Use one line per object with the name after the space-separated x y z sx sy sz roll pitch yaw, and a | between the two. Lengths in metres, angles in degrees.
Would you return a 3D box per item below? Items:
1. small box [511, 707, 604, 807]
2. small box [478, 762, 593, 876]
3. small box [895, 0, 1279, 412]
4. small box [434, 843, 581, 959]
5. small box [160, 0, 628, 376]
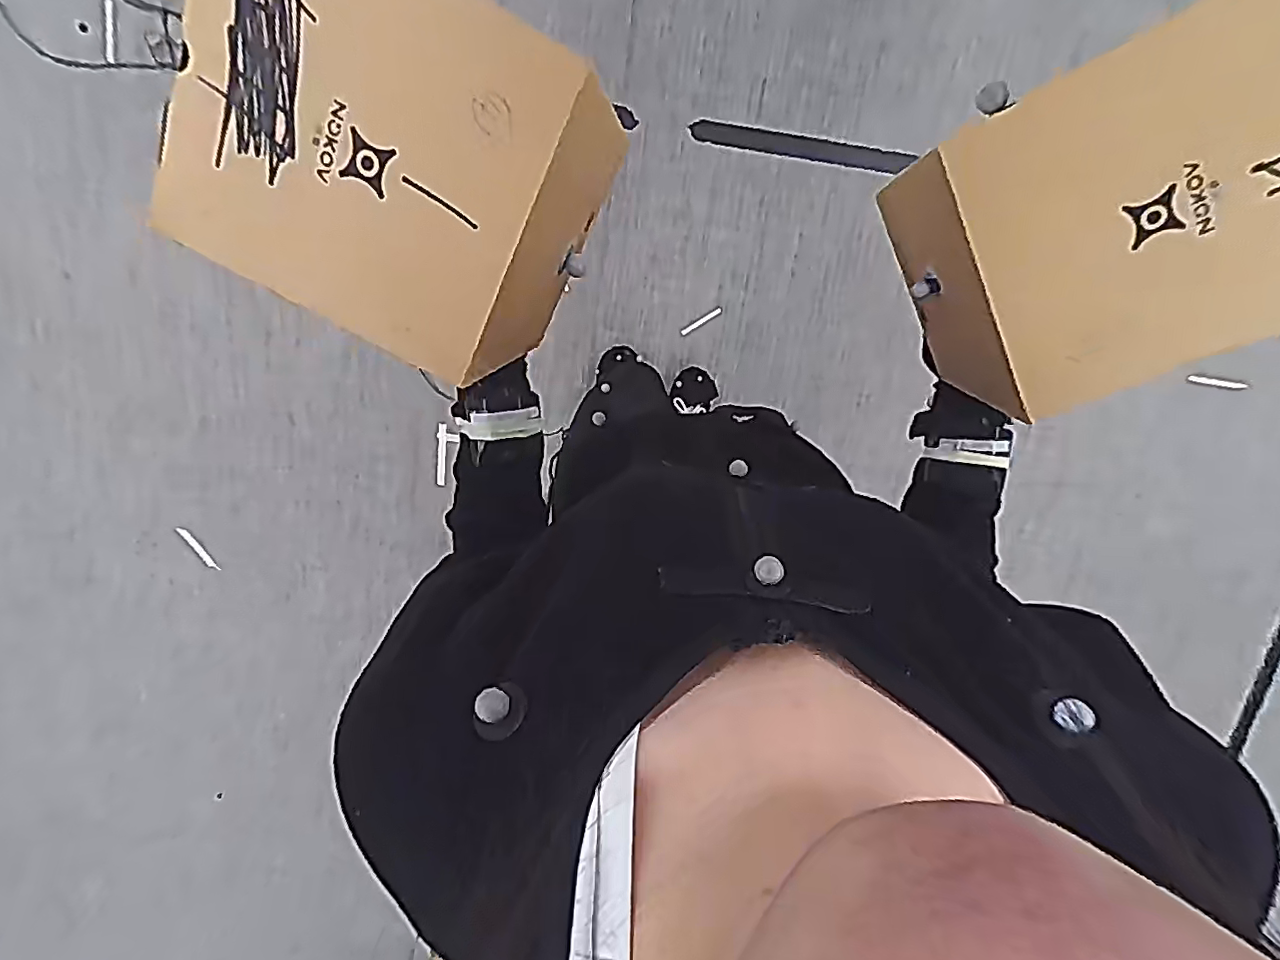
-0.171 0.582 1.067 0.168 0.176 0.179 14 101 -1 | small box
-0.177 0.612 0.907 0.168 0.176 0.179 11 102 -1 | small box
0.284 -0.164 0.346 0.179 0.176 0.168 -23 104 18 | small box
-0.182 0.650 0.750 0.168 0.176 0.179 11 104 0 | small box
-0.123 -0.187 0.328 0.179 0.176 0.168 27 112 -7 | small box
